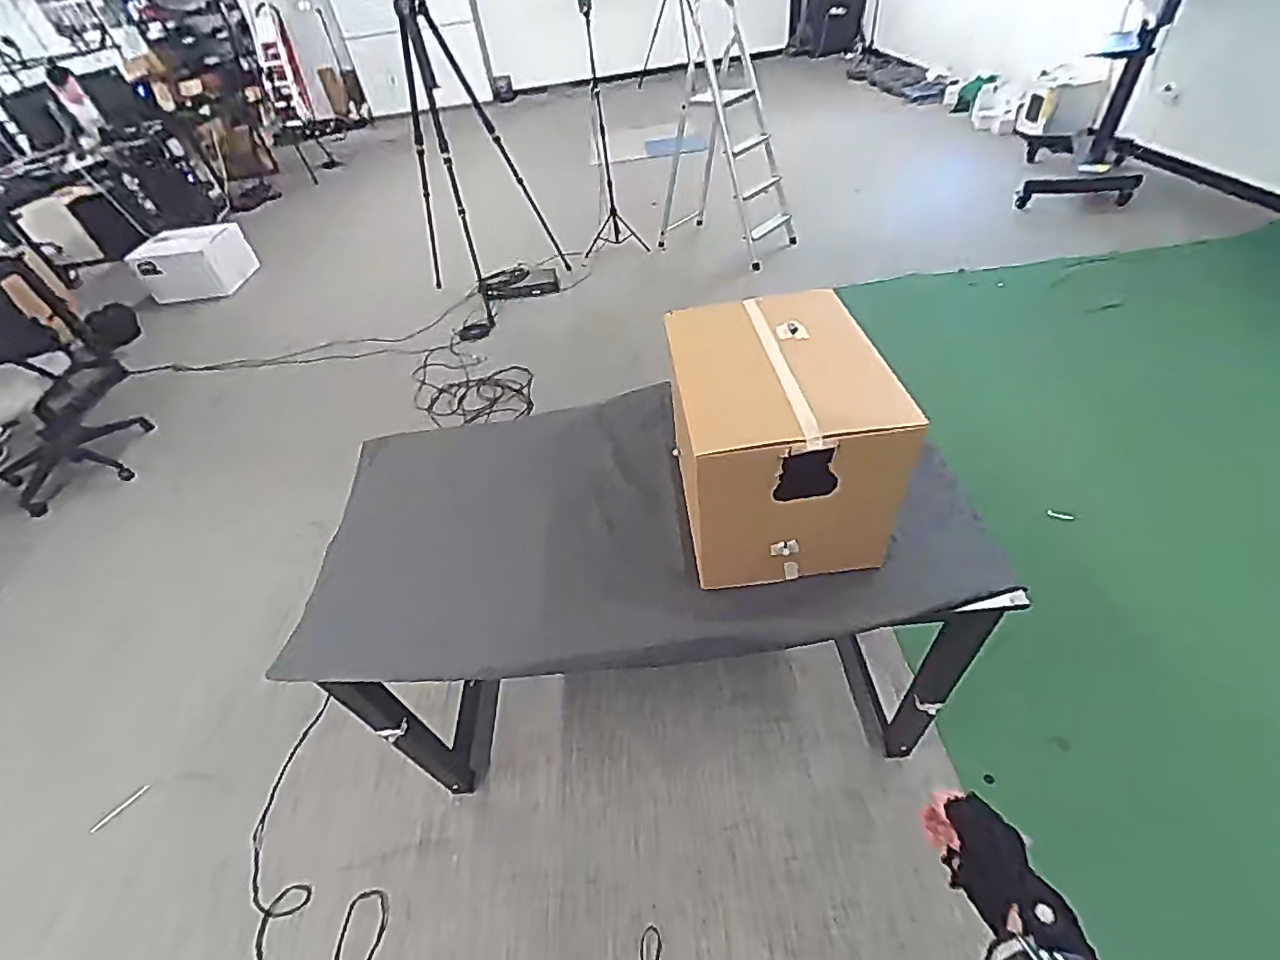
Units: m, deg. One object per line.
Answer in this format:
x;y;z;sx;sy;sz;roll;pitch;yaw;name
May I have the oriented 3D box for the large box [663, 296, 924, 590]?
0.228;-0.073;0.953;0.320;0.320;0.408;-8;43;2;large box
